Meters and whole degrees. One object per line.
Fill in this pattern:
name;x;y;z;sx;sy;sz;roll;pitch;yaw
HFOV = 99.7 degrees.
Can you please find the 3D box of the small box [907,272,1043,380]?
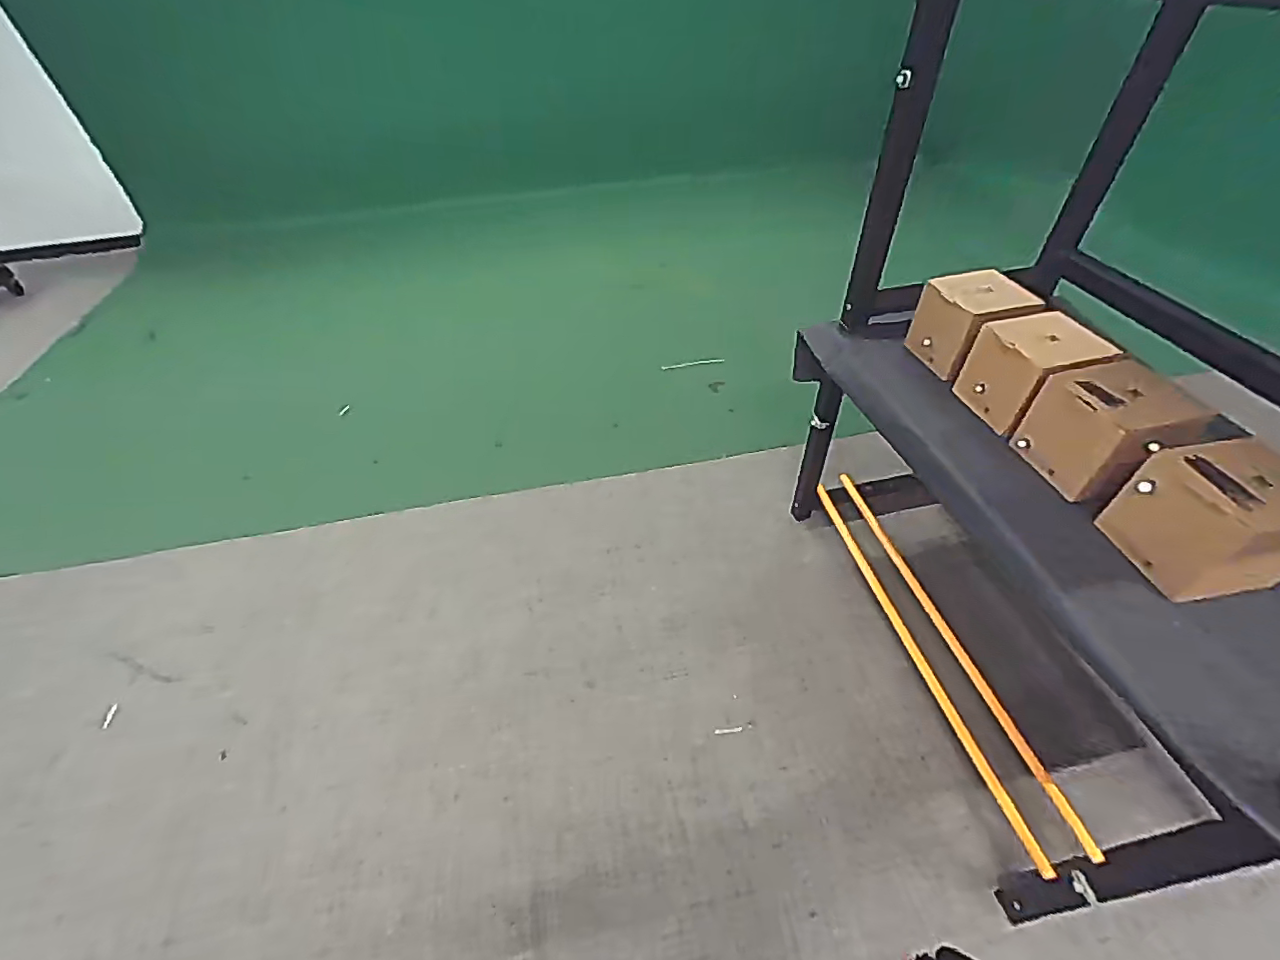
small box;0.753;-0.351;1.238;0.179;0.176;0.168;-11;46;-7
